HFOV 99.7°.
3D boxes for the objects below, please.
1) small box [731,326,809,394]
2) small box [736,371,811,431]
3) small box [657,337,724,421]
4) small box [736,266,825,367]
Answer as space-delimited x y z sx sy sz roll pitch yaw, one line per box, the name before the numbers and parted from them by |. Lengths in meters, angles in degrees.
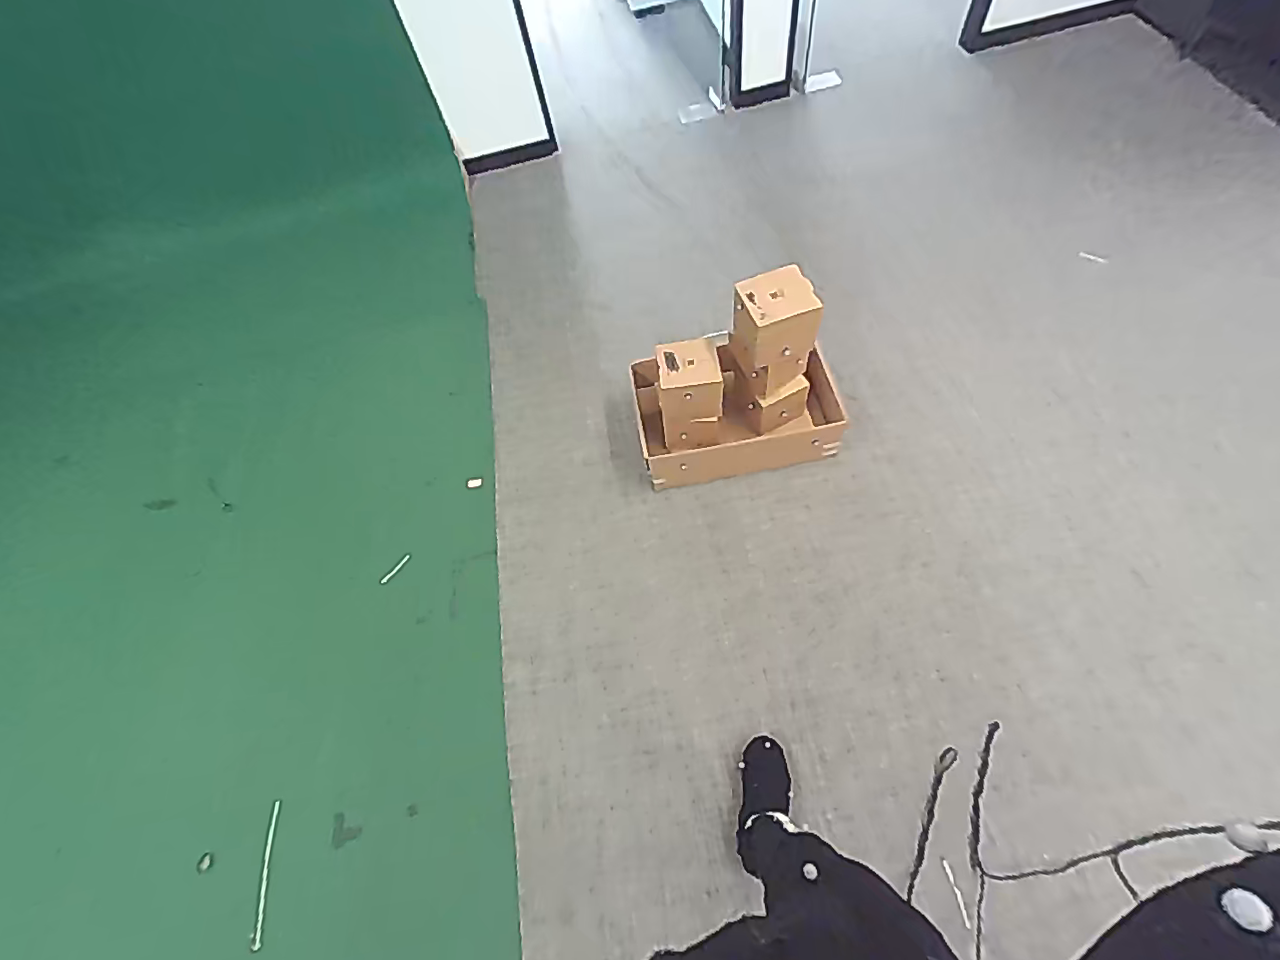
small box | 0.386 -0.381 1.602 0.168 0.176 0.179 -35 62 -10
small box | 0.421 -0.280 1.729 0.168 0.176 0.179 -26 61 -5
small box | 0.150 -0.290 1.588 0.179 0.176 0.168 -7 60 3
small box | 0.367 -0.433 1.447 0.179 0.176 0.168 -18 61 -2
